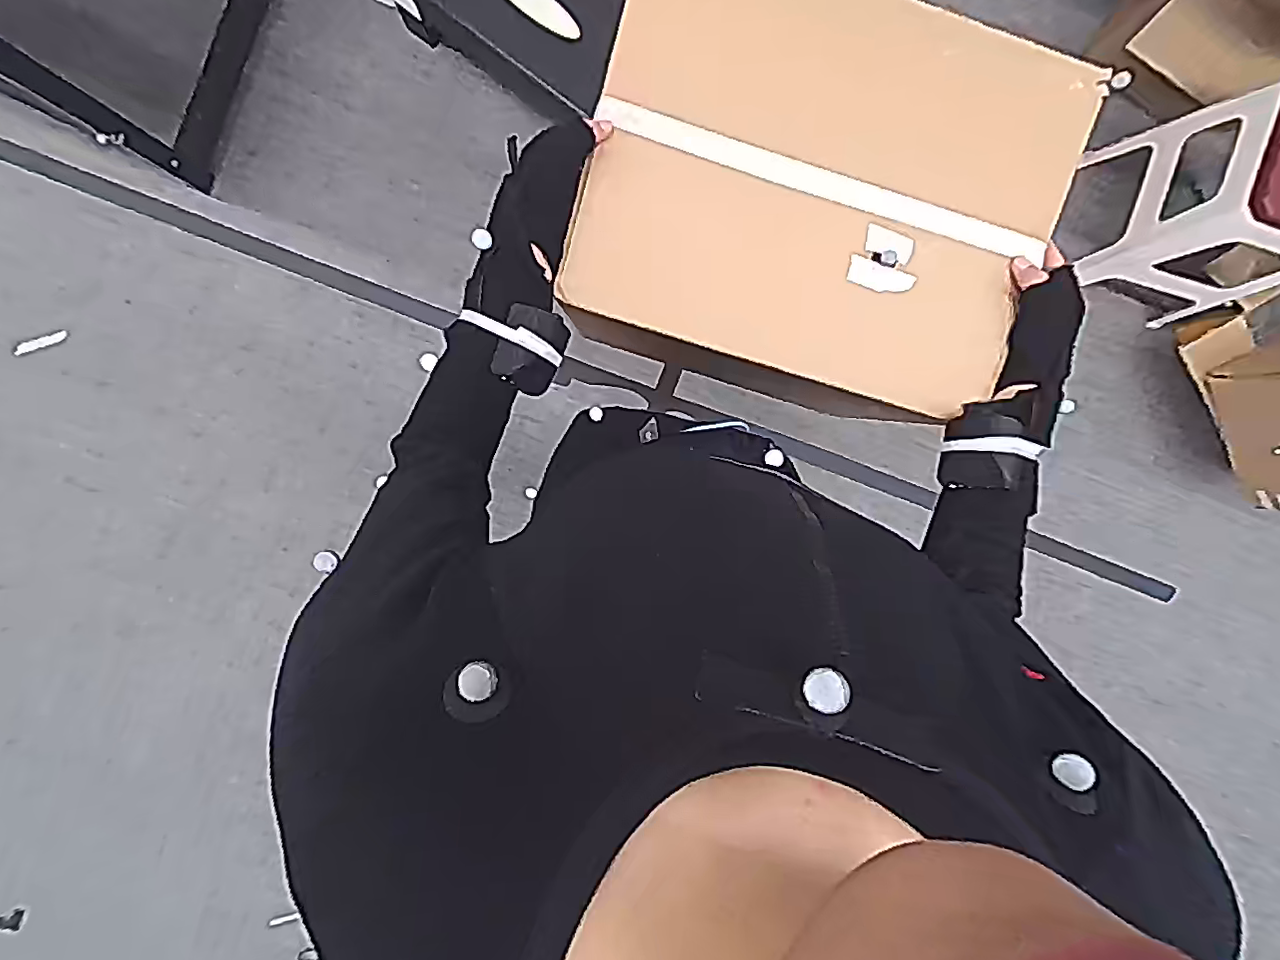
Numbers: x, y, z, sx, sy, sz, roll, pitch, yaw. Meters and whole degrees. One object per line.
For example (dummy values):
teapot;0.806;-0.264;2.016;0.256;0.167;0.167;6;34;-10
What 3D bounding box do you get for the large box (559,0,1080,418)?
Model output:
large box;0.148;-0.277;0.623;0.408;0.320;0.320;16;99;-5
